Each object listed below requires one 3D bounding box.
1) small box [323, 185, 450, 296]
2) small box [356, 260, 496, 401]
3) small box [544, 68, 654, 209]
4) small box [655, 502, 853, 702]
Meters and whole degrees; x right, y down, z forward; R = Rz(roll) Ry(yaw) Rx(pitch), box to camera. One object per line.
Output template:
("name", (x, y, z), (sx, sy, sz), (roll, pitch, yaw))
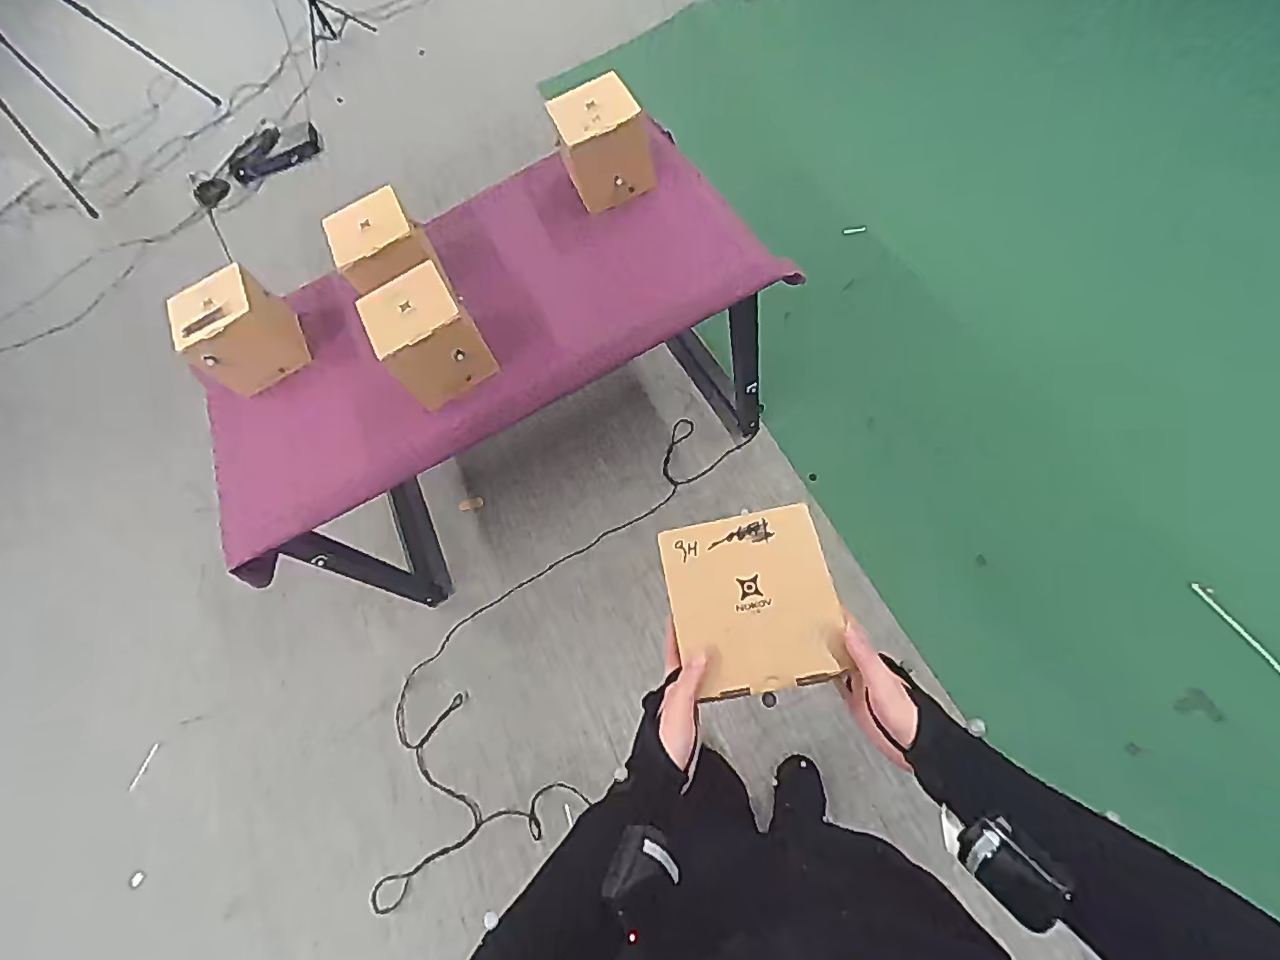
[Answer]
("small box", (-0.543, -0.486, 1.172), (0.168, 0.176, 0.179), (-30, 65, -1))
("small box", (-0.406, -0.277, 1.046), (0.168, 0.176, 0.179), (-31, 62, -2))
("small box", (-0.084, -0.732, 1.172), (0.168, 0.176, 0.179), (-25, 64, 3))
("small box", (0.121, 0.145, 0.615), (0.168, 0.176, 0.179), (-13, 67, 5))
